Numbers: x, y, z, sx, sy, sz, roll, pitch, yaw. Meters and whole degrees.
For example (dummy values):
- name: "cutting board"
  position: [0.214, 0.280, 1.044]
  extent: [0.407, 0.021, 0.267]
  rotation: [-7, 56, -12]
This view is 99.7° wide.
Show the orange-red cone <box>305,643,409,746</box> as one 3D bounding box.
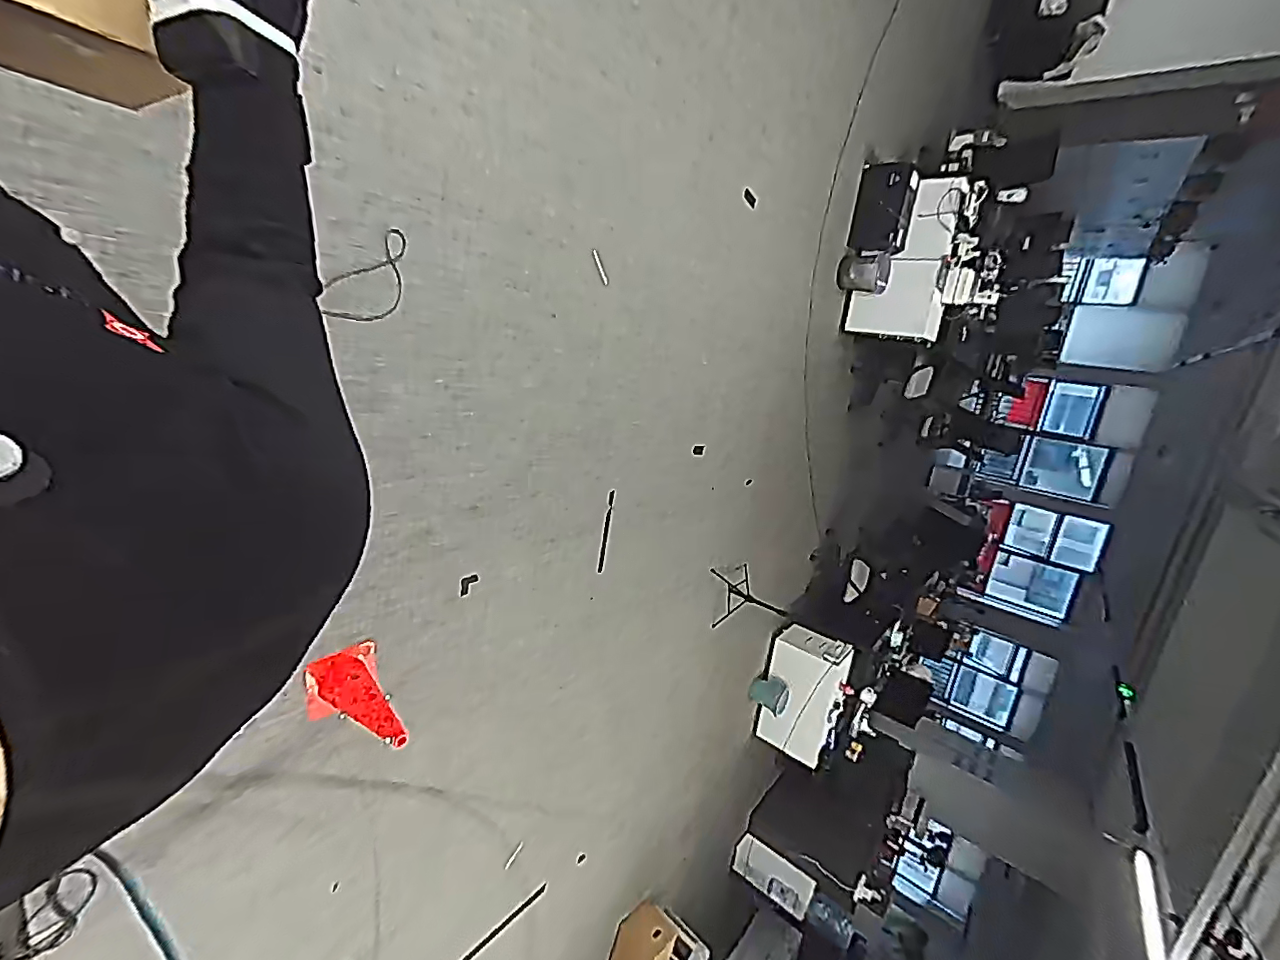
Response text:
- name: "orange-red cone"
  position: [-0.772, 0.649, 1.541]
  extent: [0.198, 0.360, 0.199]
  rotation: [-14, 114, -51]

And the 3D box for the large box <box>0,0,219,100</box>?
- name: "large box"
  position: [-0.525, -0.476, 0.294]
  extent: [0.408, 0.320, 0.320]
  rotation: [-8, 115, -51]
